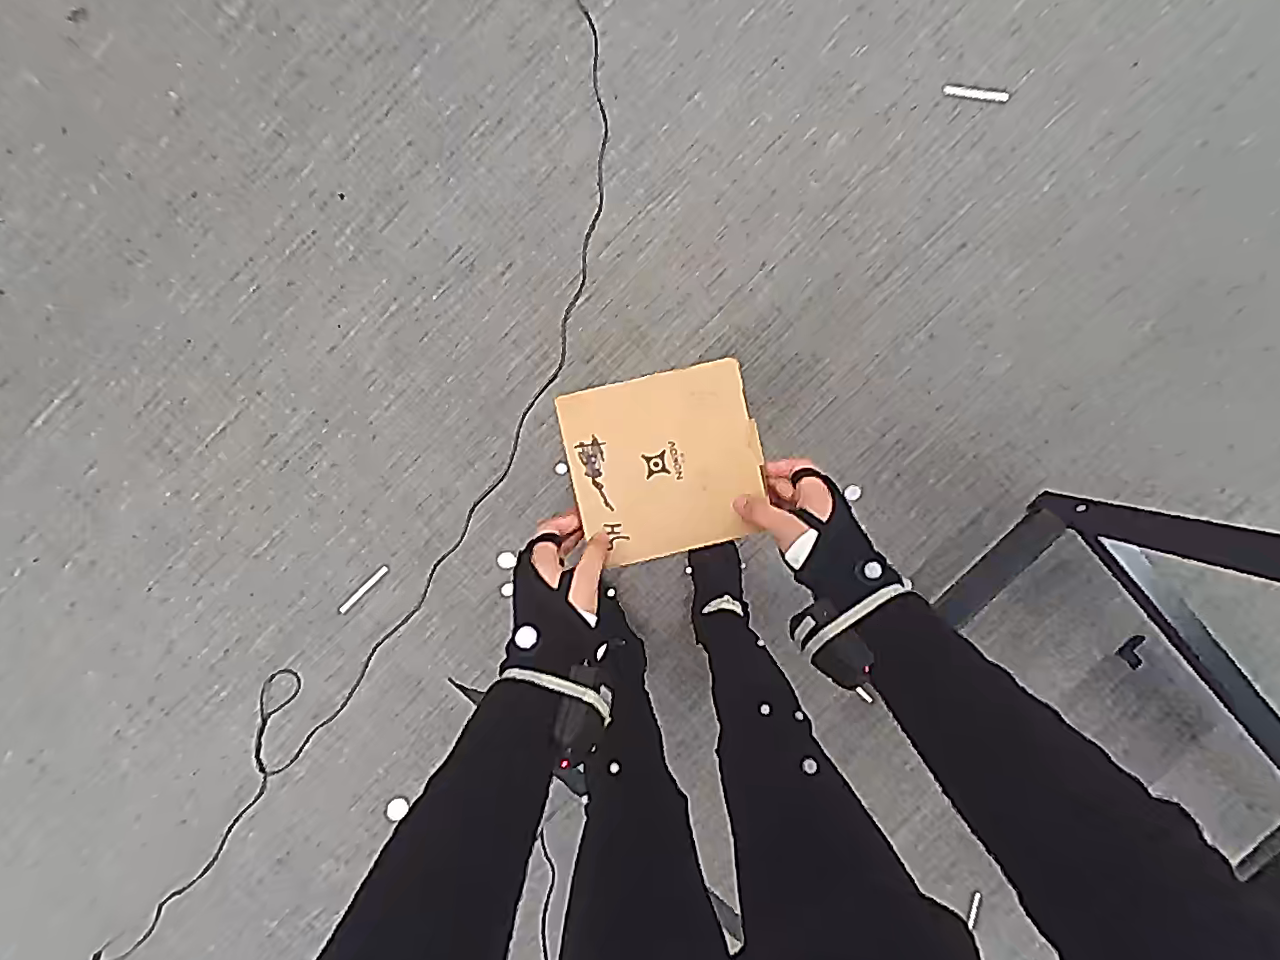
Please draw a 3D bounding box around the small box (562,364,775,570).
[{"bbox_3d":[0.023,-0.013,0.588,0.179,0.176,0.168,-14,89,-3],"label":"small box"}]
